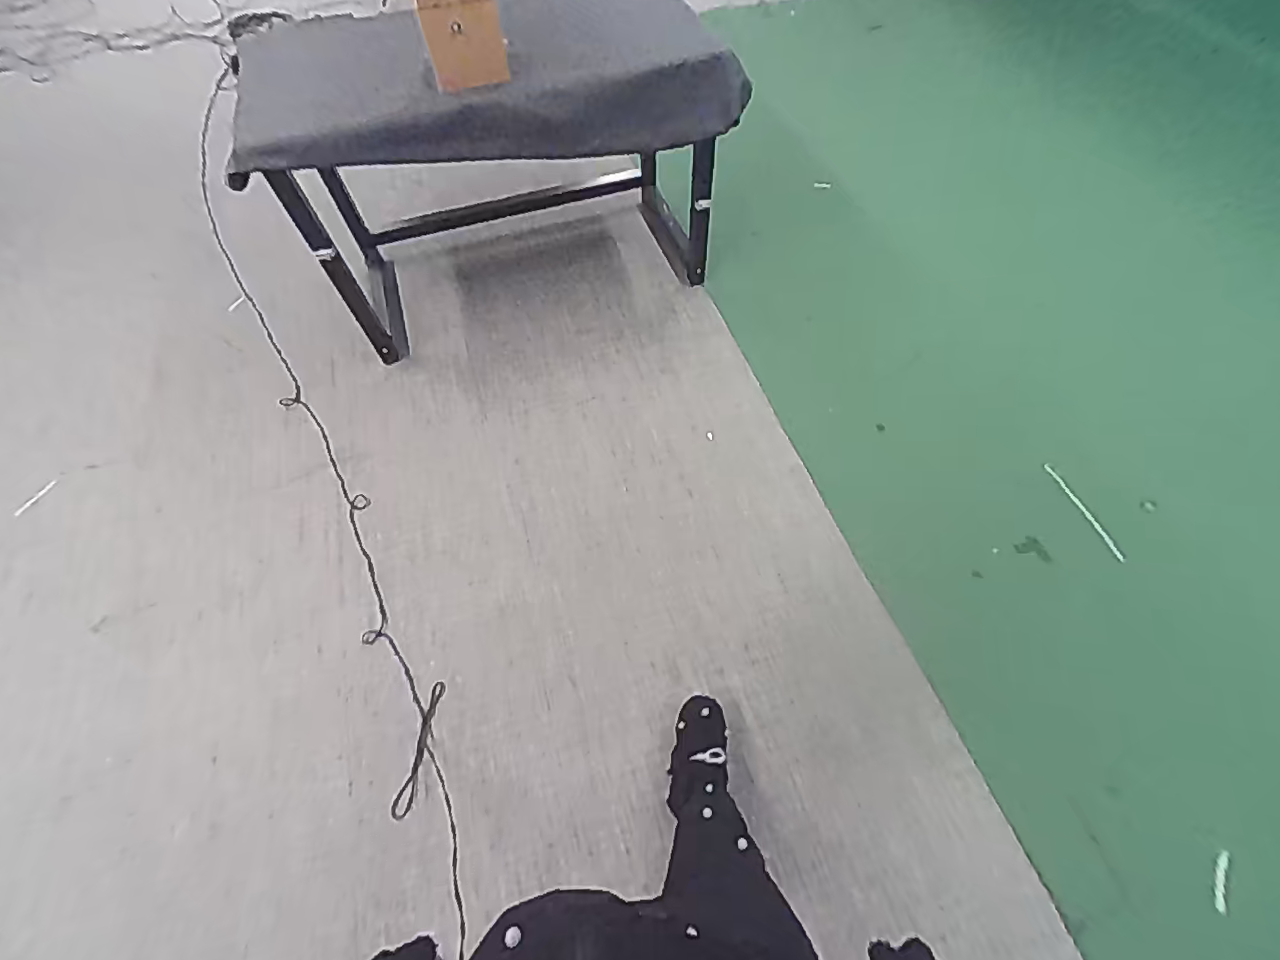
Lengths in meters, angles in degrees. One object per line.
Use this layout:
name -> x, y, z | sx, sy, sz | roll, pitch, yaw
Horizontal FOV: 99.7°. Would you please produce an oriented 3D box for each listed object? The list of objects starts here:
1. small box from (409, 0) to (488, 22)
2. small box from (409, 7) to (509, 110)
small box -> -0.445, -1.134, 1.170 | 0.168, 0.176, 0.179 | -19, 61, -7
small box -> -0.438, -1.036, 1.319 | 0.179, 0.176, 0.168 | -16, 60, -8
